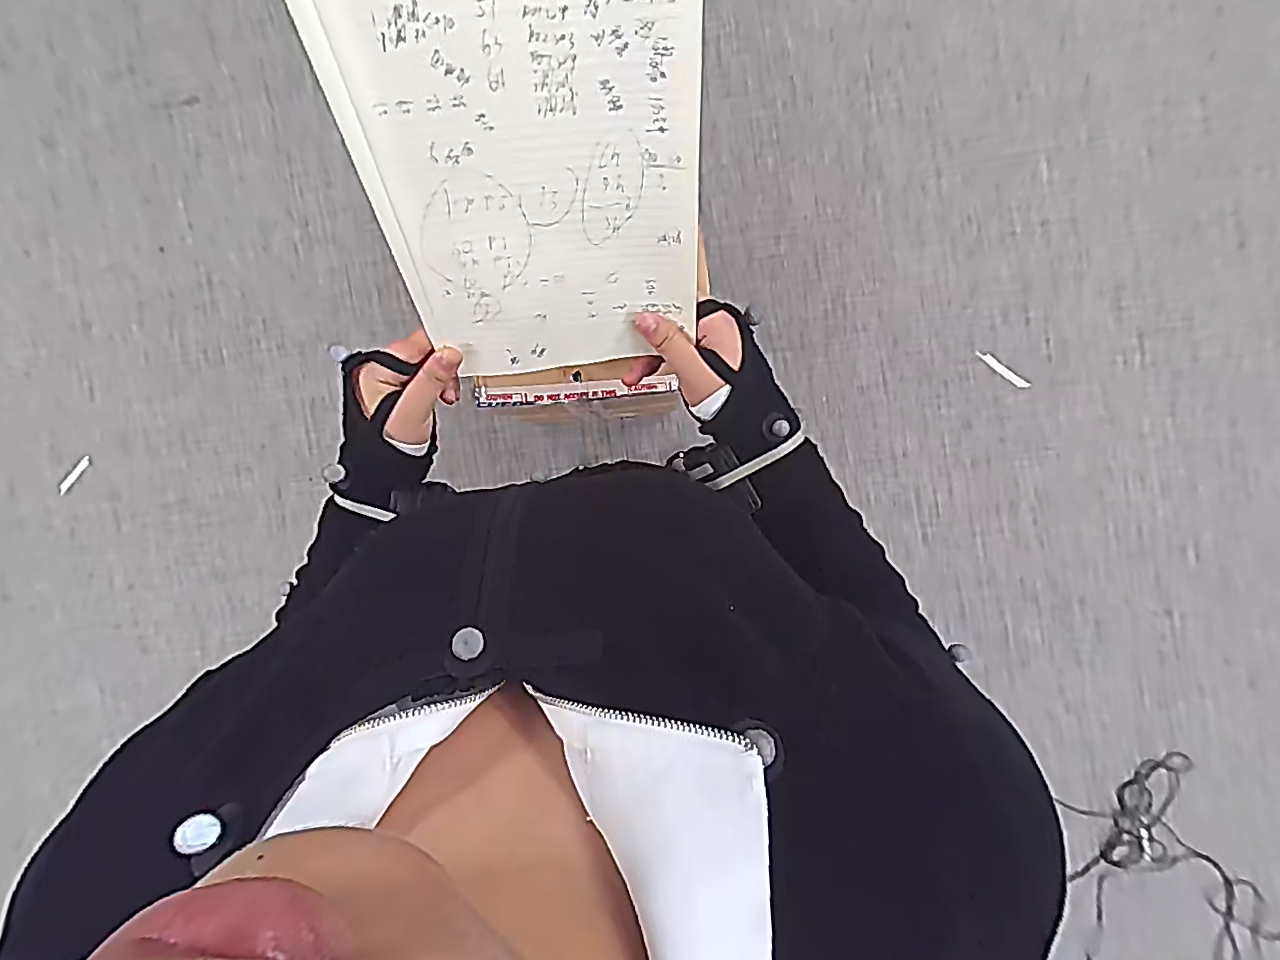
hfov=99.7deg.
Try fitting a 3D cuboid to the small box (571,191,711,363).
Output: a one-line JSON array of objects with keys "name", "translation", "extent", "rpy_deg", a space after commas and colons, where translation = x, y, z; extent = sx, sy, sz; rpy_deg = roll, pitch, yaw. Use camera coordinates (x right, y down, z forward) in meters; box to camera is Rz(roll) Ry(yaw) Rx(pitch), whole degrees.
[{"name": "small box", "translation": [-0.001, -0.279, 0.775], "extent": [0.168, 0.176, 0.179], "rpy_deg": [-8, 92, -1]}]

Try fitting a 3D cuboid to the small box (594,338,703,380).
[{"name": "small box", "translation": [0.001, -0.277, 0.939], "extent": [0.179, 0.176, 0.168], "rpy_deg": [-11, 92, 1]}]
